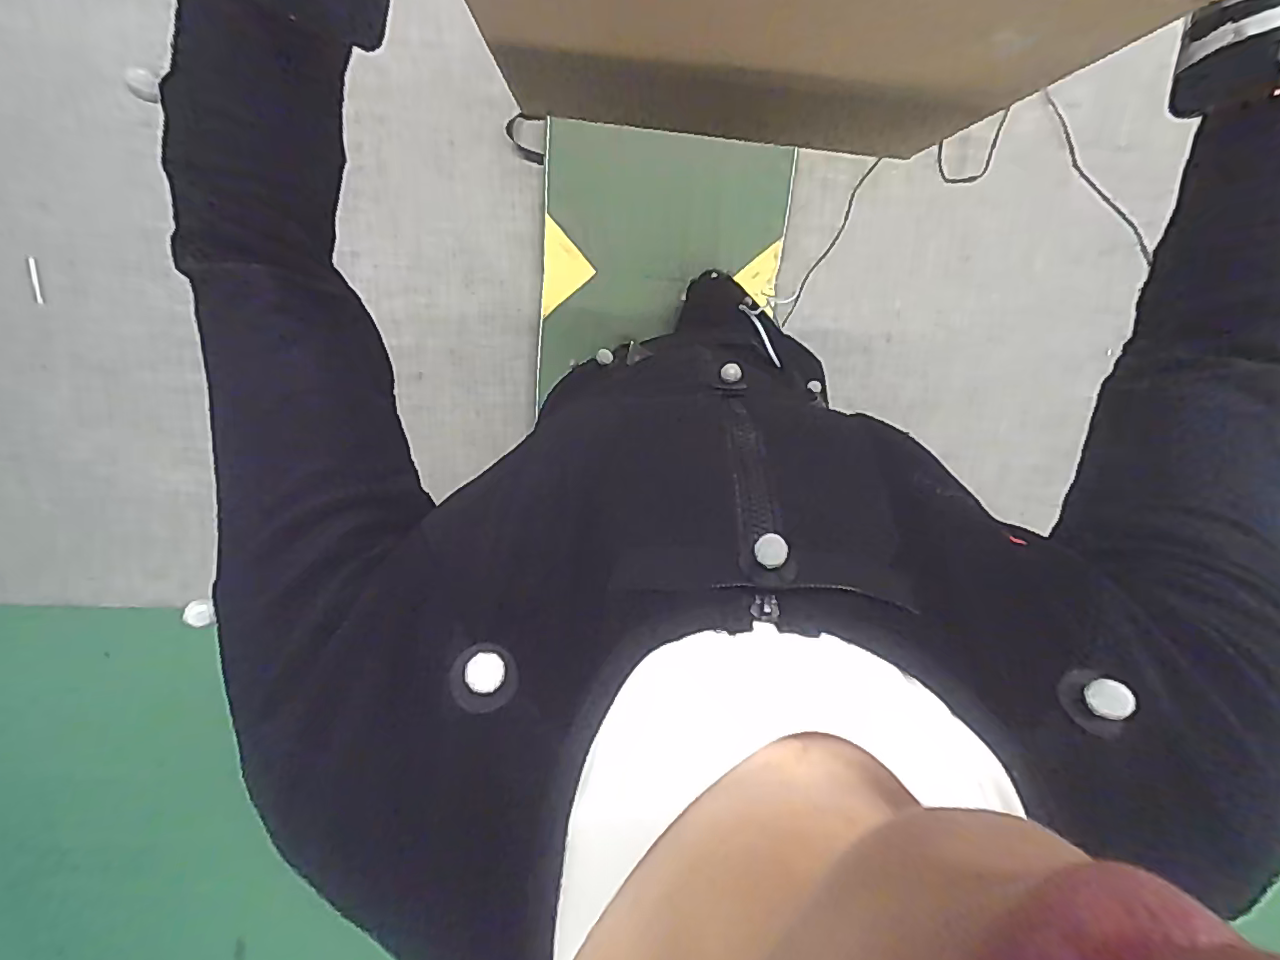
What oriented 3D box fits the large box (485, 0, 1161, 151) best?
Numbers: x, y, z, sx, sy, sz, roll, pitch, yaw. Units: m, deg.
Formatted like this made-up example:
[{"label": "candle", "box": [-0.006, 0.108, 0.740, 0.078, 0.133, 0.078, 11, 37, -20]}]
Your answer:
[{"label": "large box", "box": [0.100, -0.455, 0.368, 0.408, 0.320, 0.320, 4, 107, -5]}]
